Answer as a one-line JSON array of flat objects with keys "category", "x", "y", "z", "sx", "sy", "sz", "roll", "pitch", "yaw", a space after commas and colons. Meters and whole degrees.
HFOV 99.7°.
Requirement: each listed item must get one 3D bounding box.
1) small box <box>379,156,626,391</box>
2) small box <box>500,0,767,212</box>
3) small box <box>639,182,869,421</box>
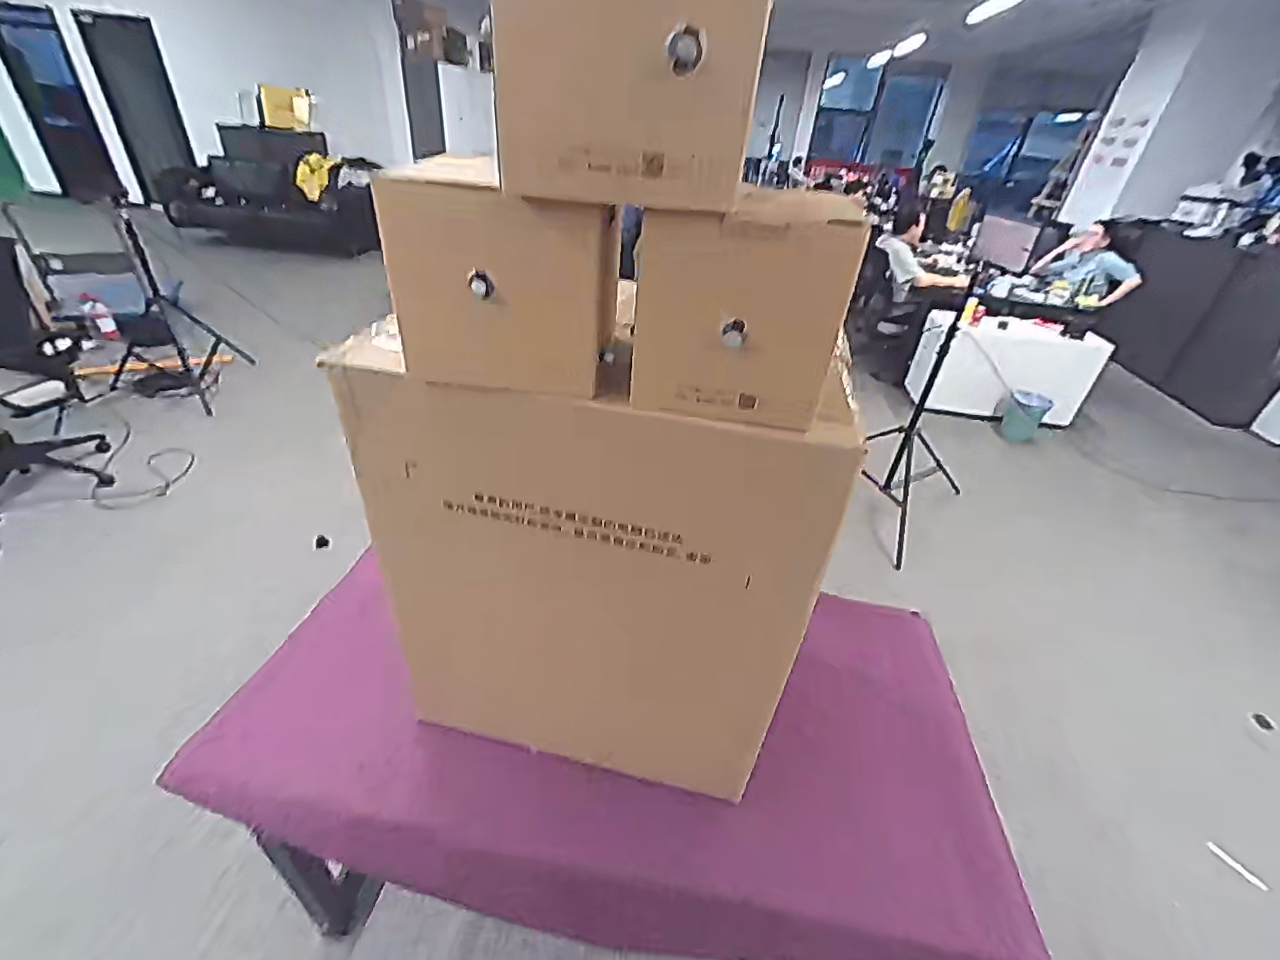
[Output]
[{"category": "small box", "x": -0.110, "y": -0.197, "z": 0.514, "sx": 0.179, "sy": 0.176, "sz": 0.168, "roll": 6, "pitch": 35, "yaw": 2}, {"category": "small box", "x": -0.004, "y": -0.309, "z": 0.405, "sx": 0.168, "sy": 0.176, "sz": 0.179, "roll": 5, "pitch": 34, "yaw": -3}, {"category": "small box", "x": 0.094, "y": -0.172, "z": 0.505, "sx": 0.168, "sy": 0.176, "sz": 0.179, "roll": 10, "pitch": 36, "yaw": 6}]
